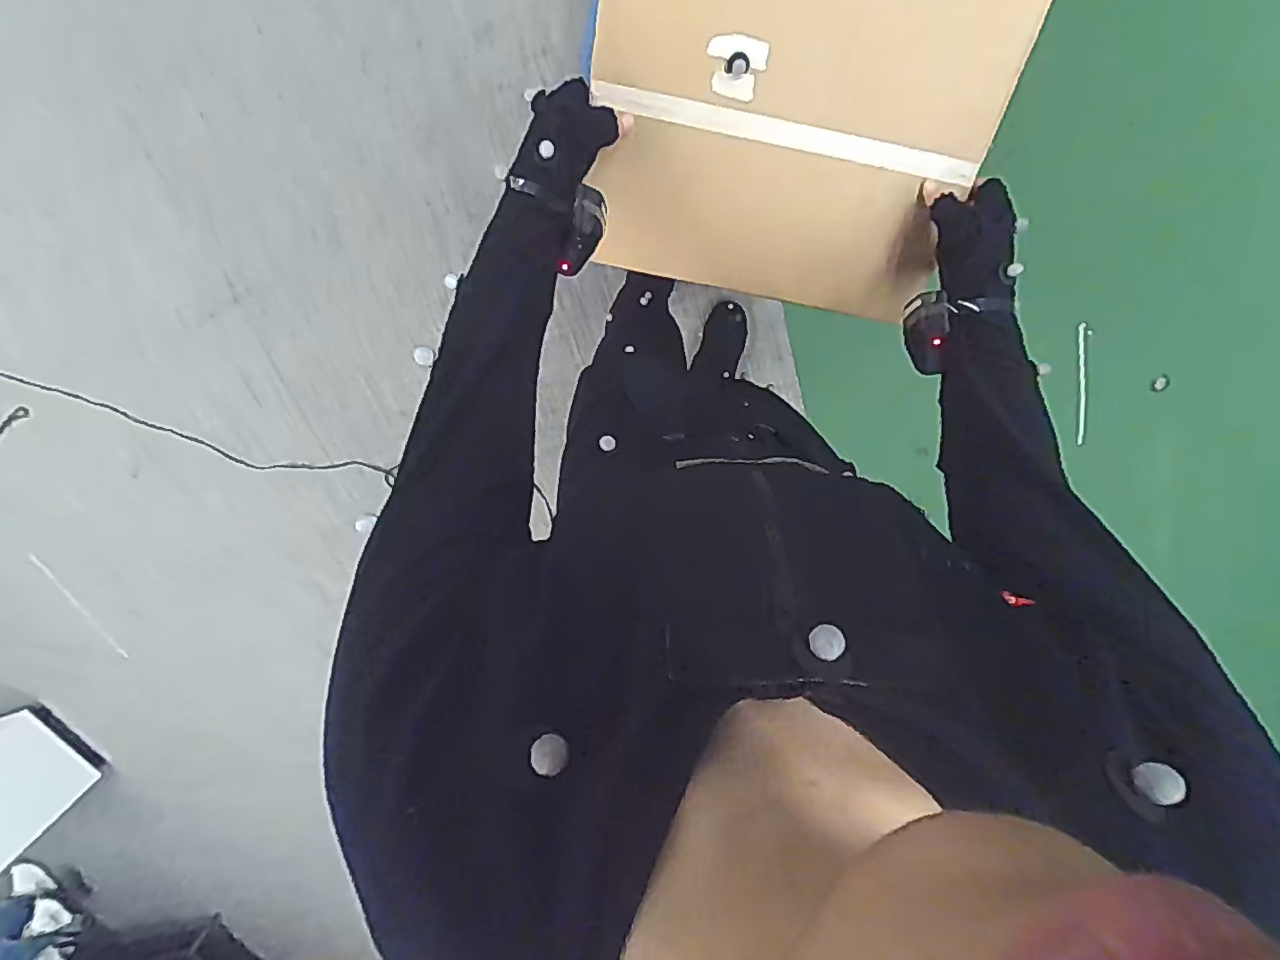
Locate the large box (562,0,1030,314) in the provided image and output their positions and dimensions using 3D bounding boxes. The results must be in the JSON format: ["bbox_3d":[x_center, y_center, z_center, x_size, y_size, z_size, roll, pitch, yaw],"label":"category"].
[{"bbox_3d":[0.142,-0.434,0.672,0.408,0.320,0.320,11,121,-3],"label":"large box"}]
